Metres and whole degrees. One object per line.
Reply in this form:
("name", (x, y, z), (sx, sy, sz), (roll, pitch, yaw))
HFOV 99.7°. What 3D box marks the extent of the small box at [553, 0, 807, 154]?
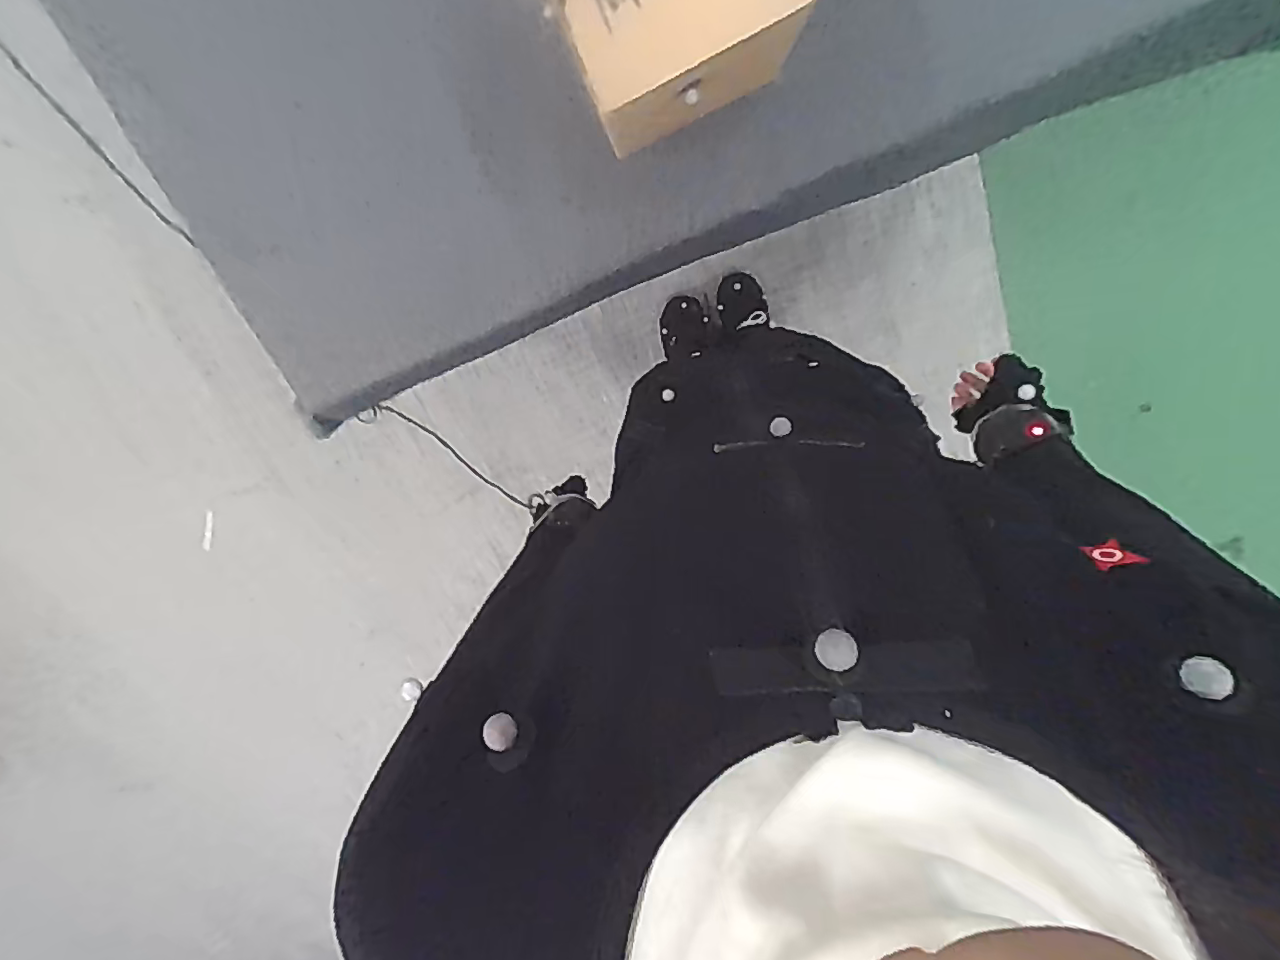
("small box", (0.020, -0.415, 0.464), (0.179, 0.176, 0.168), (-22, 107, 10))
